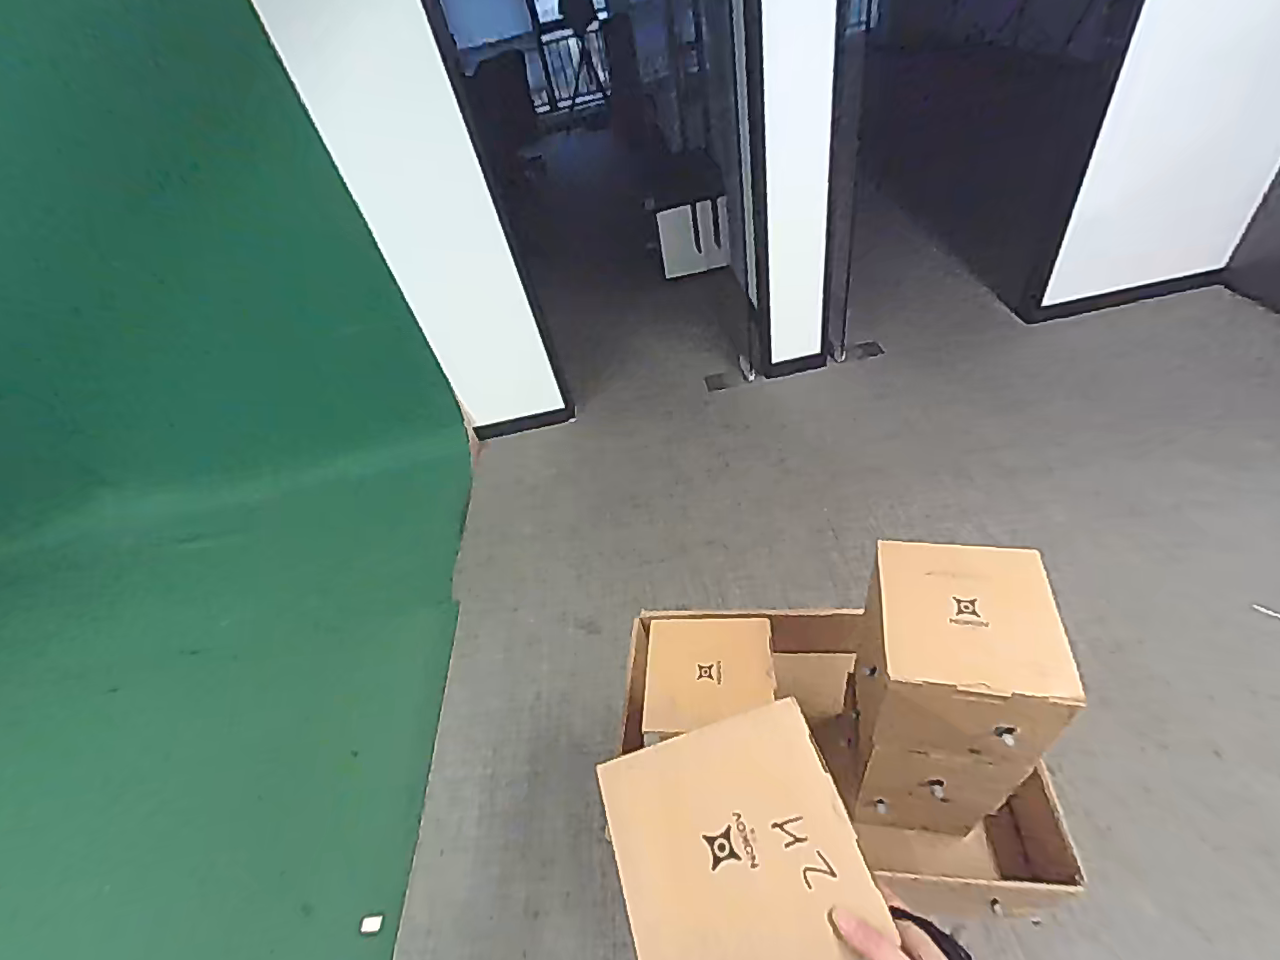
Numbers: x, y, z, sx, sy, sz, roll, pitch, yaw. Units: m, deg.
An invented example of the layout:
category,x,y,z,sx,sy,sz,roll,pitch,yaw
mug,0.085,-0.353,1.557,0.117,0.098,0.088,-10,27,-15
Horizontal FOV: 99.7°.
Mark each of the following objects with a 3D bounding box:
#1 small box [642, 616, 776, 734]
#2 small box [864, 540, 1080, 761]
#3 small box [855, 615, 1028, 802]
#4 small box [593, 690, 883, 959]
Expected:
category,x,y,z,sx,sy,sz,roll,pitch,yaw
small box,0.110,0.317,0.794,0.179,0.176,0.168,-4,45,11
small box,0.349,0.191,0.610,0.168,0.176,0.179,2,45,18
small box,0.383,0.305,0.723,0.168,0.176,0.179,1,47,17
small box,0.077,0.308,0.470,0.179,0.176,0.168,-19,56,-1
